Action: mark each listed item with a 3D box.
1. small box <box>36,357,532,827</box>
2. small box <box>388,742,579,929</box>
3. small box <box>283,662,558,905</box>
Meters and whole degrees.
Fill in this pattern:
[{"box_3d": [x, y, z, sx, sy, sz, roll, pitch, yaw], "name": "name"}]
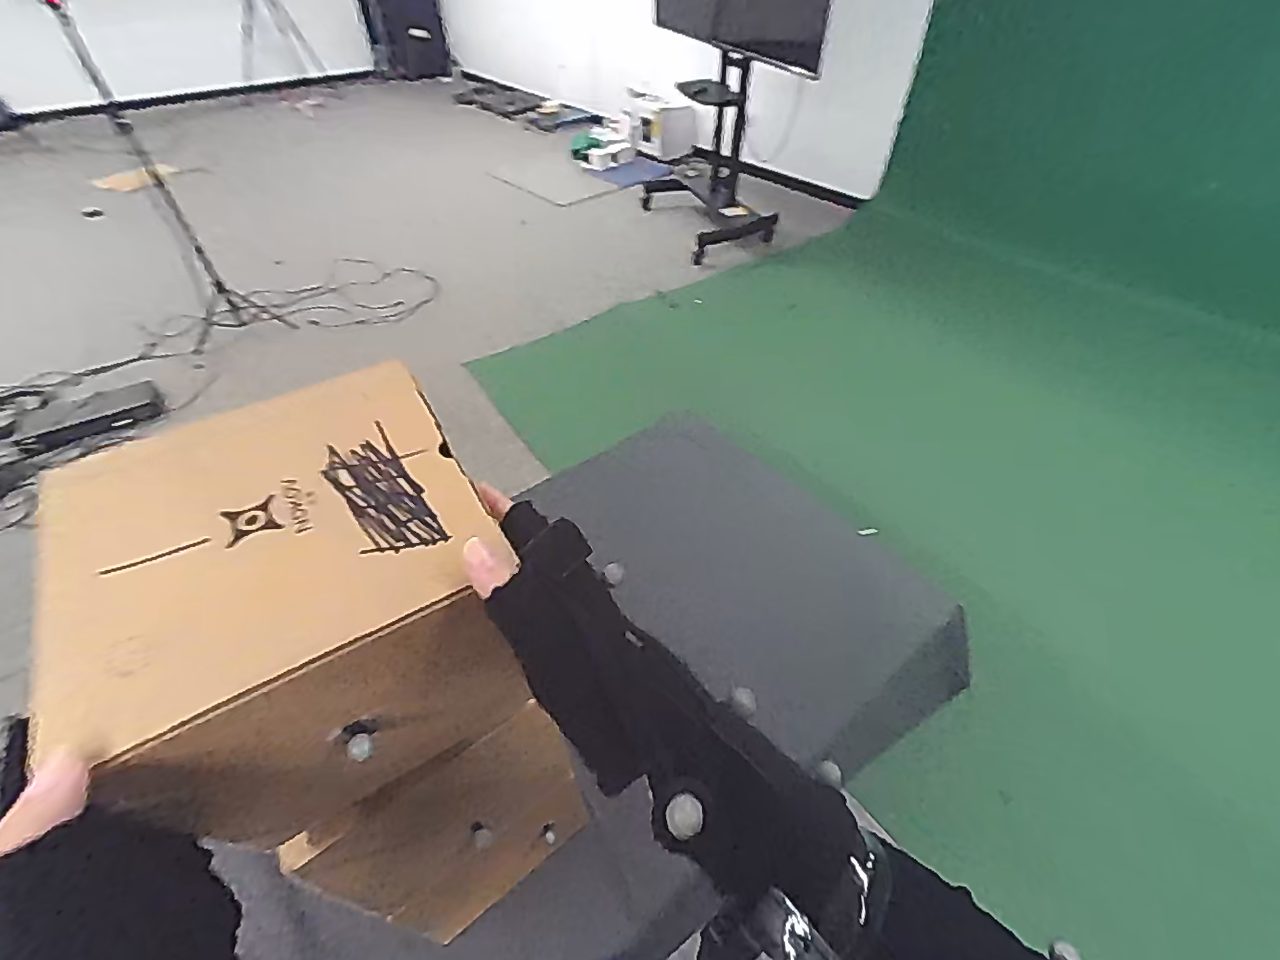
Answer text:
[{"box_3d": [-0.173, 0.065, 0.312, 0.179, 0.176, 0.168, -25, 58, -21], "name": "small box"}, {"box_3d": [-0.178, 0.318, 0.567, 0.179, 0.176, 0.168, -31, 51, -25], "name": "small box"}, {"box_3d": [-0.182, 0.204, 0.452, 0.179, 0.176, 0.168, -32, 53, -26], "name": "small box"}]
